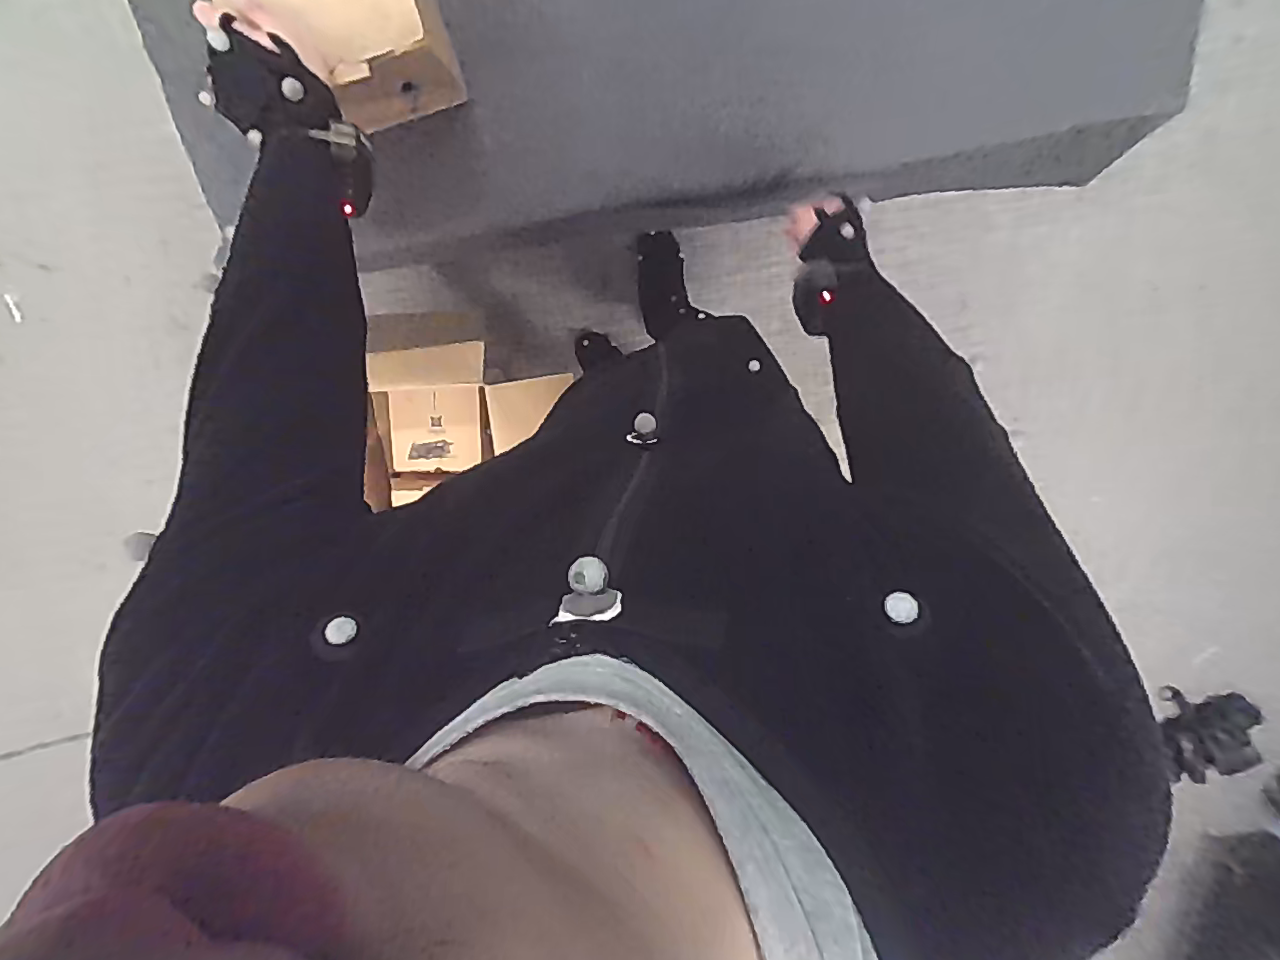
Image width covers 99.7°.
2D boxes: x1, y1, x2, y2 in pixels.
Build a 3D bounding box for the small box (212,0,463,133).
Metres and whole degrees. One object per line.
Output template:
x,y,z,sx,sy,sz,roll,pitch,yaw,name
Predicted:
-0.298,-0.472,0.534,0.168,0.176,0.179,-17,109,2,small box
